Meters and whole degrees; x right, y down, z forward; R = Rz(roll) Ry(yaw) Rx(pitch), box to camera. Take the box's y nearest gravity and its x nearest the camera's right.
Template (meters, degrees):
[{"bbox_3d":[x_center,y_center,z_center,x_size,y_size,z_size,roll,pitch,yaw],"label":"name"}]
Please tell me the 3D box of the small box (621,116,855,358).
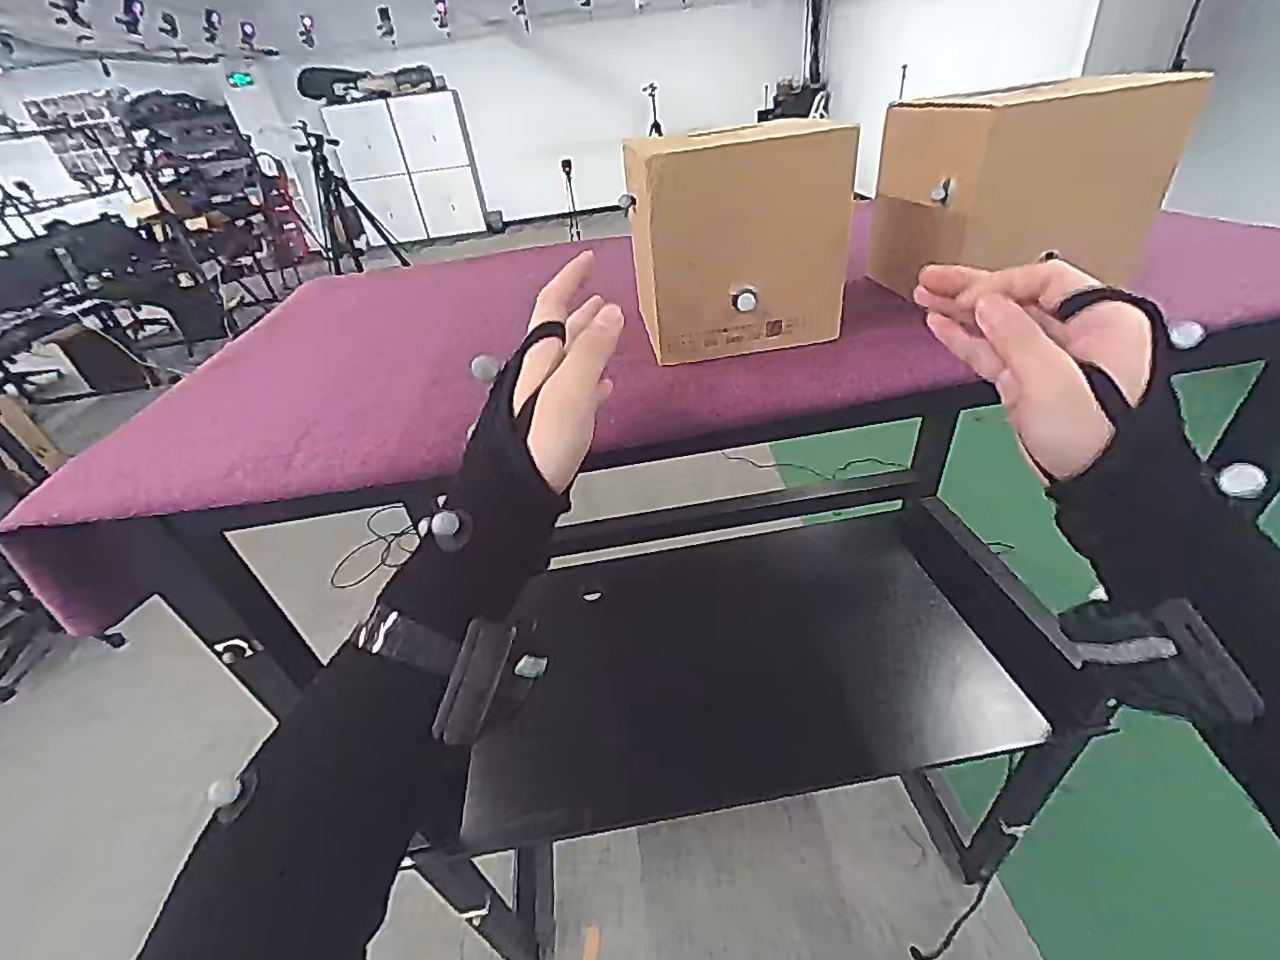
[{"bbox_3d":[0.077,-0.230,0.507,0.168,0.176,0.179,-9,35,-1],"label":"small box"}]
